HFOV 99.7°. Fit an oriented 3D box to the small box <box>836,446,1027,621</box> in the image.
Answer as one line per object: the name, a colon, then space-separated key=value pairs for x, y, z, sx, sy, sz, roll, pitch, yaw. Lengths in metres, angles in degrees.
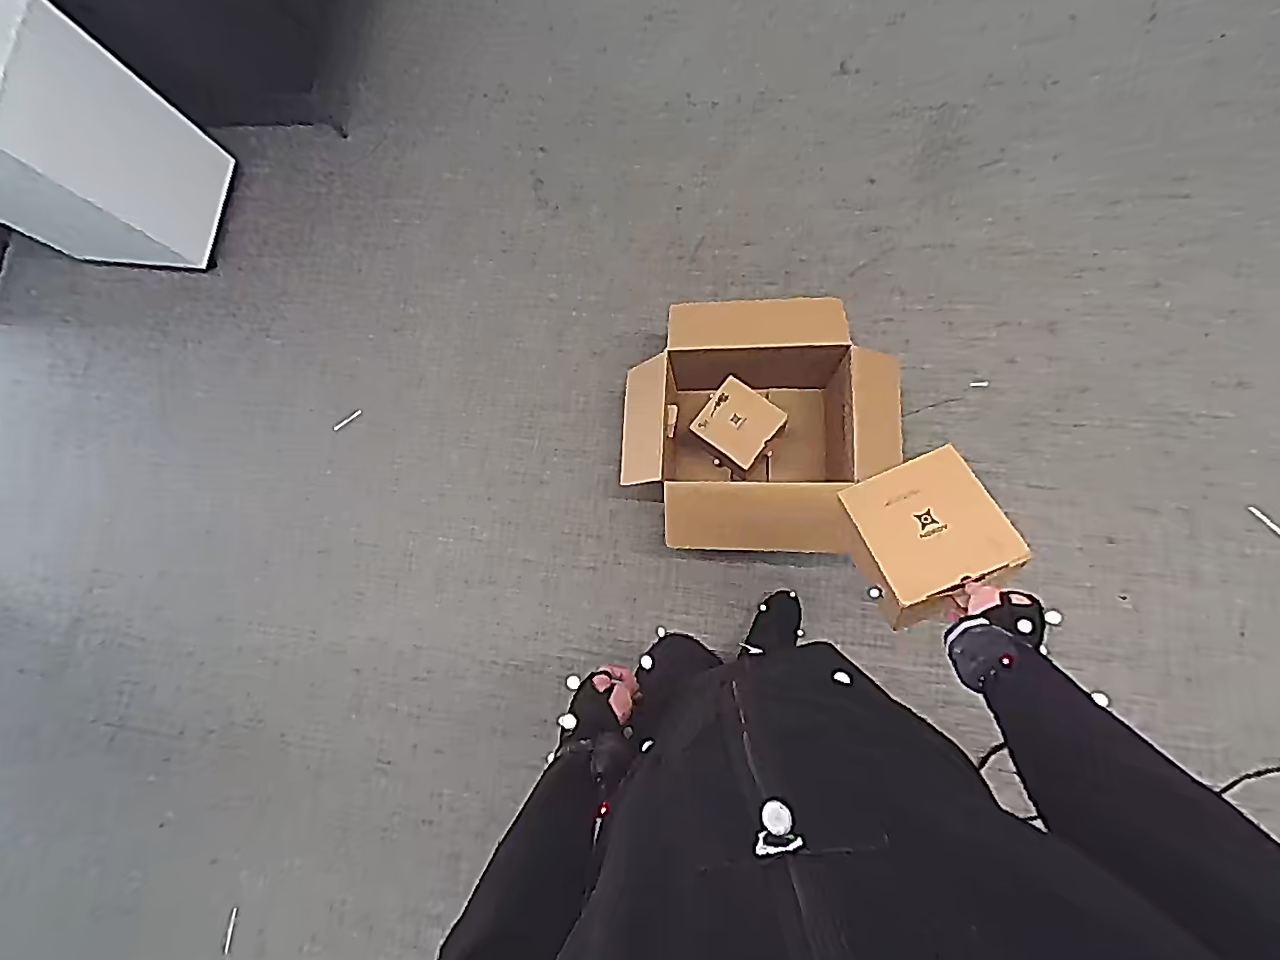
small box: x=0.398 y=0.087 z=0.774 sx=0.168 sy=0.176 sz=0.179 roll=-23 pitch=57 yaw=6
